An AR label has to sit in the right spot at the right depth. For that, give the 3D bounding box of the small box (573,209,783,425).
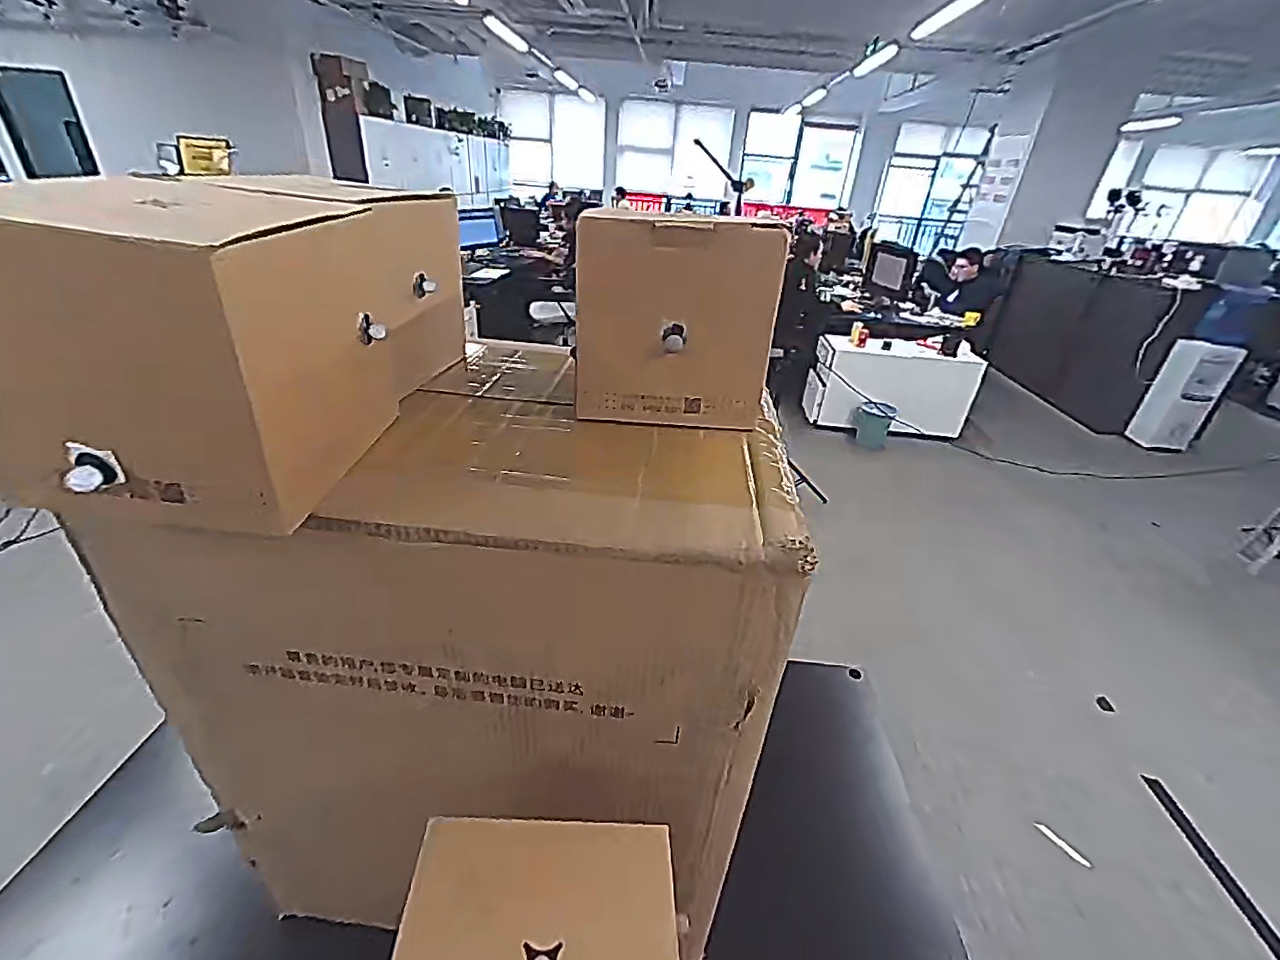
[{"bbox_3d":[0.030,-0.162,0.525,0.168,0.176,0.179,4,29,0],"label":"small box"}]
